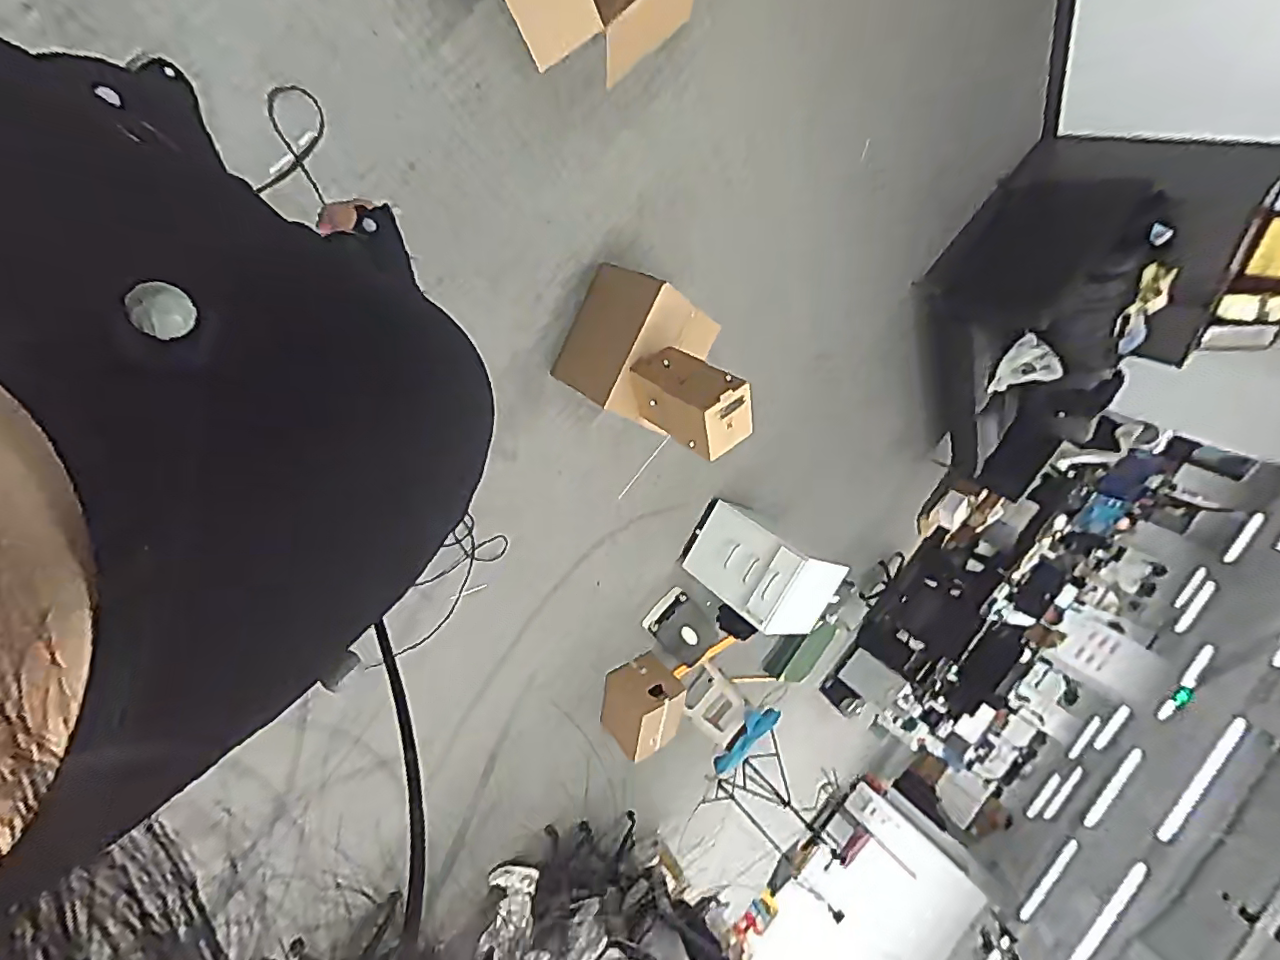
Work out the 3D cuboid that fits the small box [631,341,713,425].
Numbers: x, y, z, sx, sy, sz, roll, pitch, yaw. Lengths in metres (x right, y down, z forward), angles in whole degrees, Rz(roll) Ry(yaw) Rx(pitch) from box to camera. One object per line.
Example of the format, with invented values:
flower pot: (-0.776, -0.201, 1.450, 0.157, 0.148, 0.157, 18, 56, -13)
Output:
small box: (0.093, -0.299, 1.616, 0.168, 0.176, 0.179, -35, 135, -20)
